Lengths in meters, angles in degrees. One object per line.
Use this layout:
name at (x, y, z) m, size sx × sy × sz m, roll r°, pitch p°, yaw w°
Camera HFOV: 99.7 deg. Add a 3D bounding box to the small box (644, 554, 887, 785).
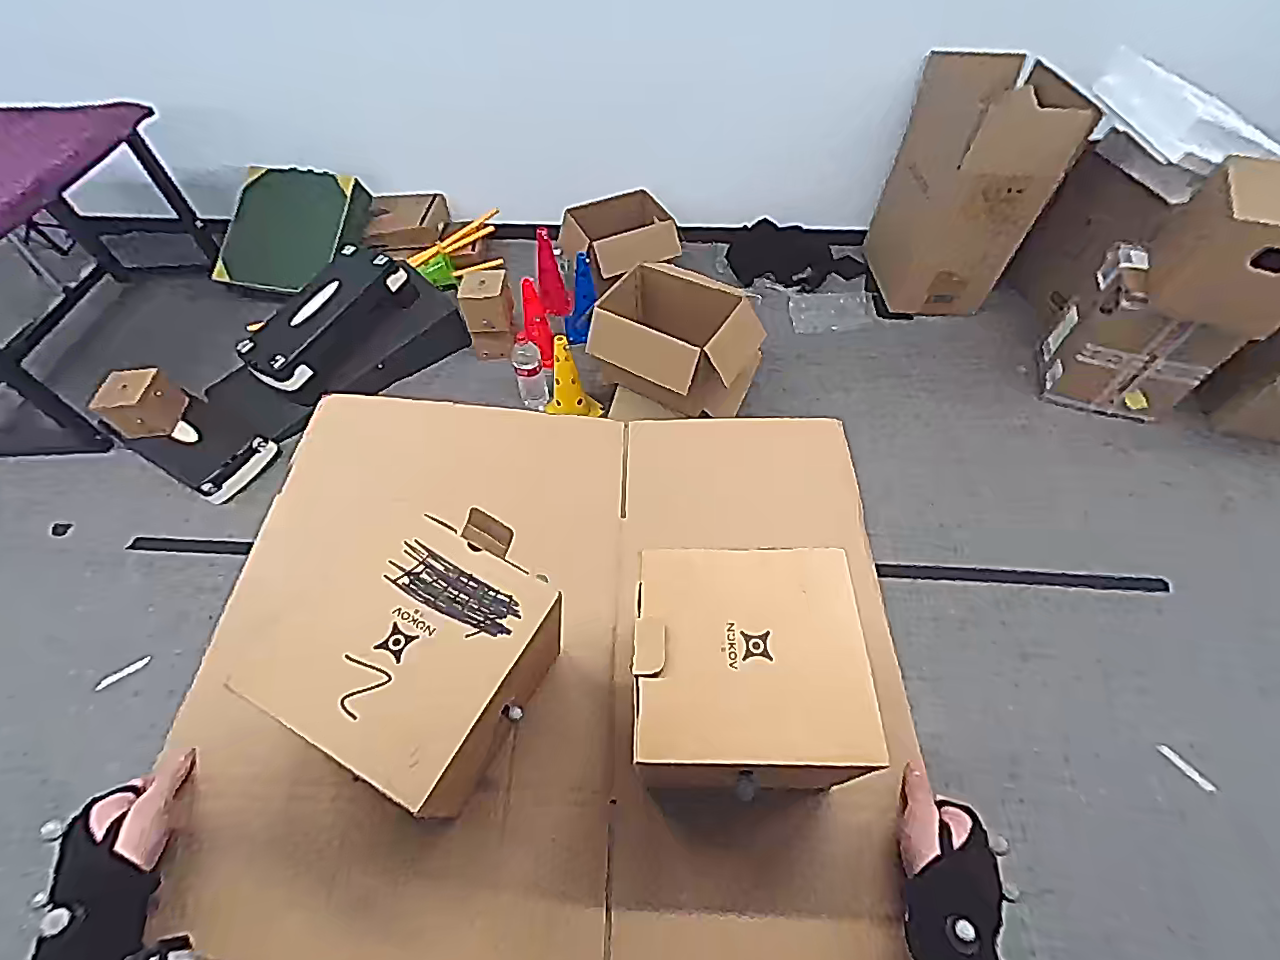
small box at (0.094, 0.178, 0.495) m, size 0.179 × 0.176 × 0.168 m, roll -2°, pitch 56°, yaw 3°
